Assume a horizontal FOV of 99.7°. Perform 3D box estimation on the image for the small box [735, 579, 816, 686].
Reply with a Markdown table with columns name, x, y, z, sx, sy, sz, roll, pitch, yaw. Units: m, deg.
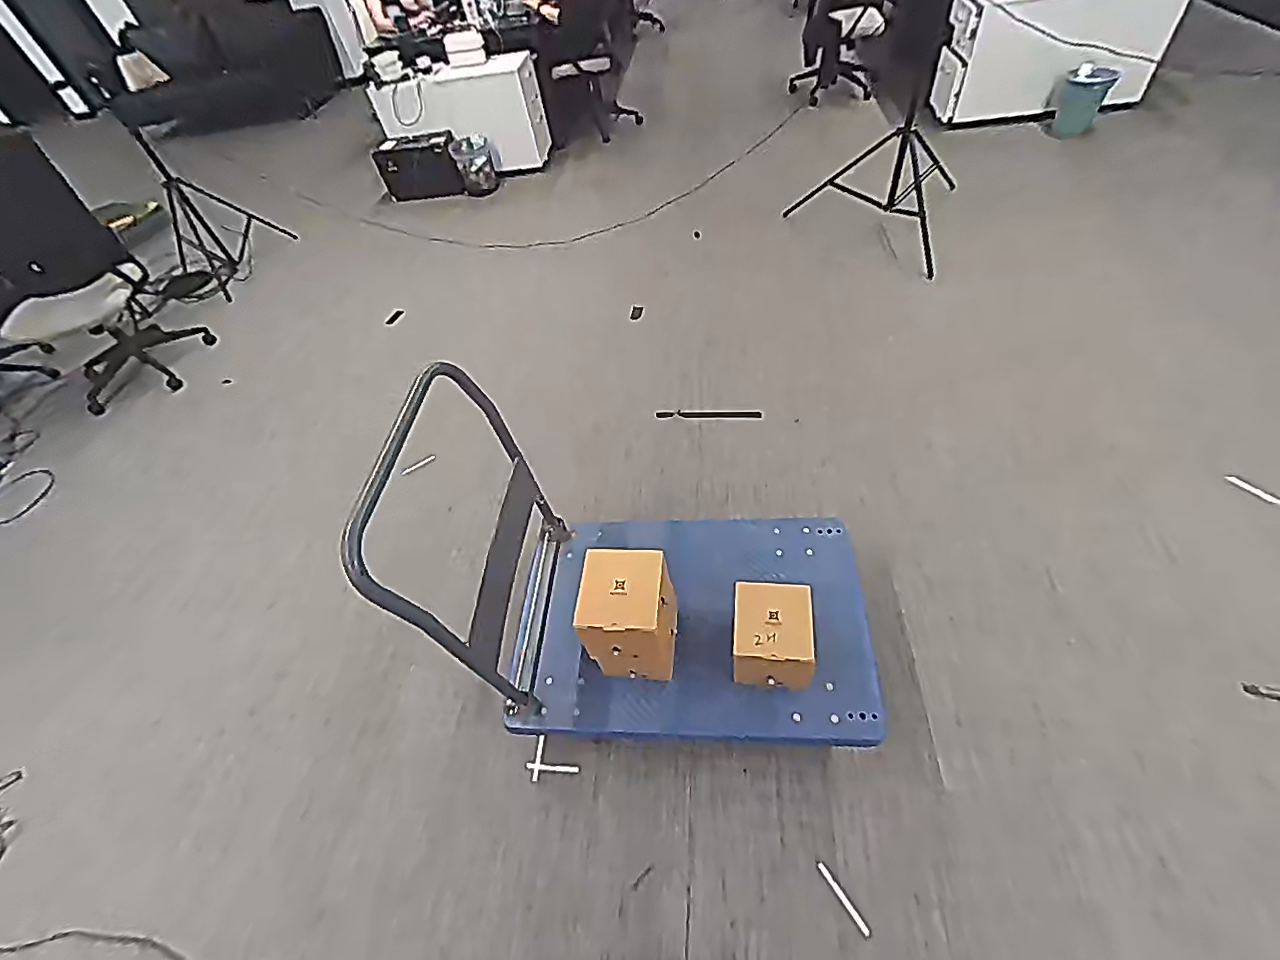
| name | x | y | z | sx | sy | sz | roll | pitch | yaw |
| --- | --- | --- | --- | --- | --- | --- | --- | --- | --- |
| small box | 0.302 | 0.345 | 1.227 | 0.168 | 0.176 | 0.179 | 1 | 51 | 12 |

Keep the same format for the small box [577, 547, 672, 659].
| name | x | y | z | sx | sy | sz | roll | pitch | yaw |
| --- | --- | --- | --- | --- | --- | --- | --- | --- | --- |
| small box | -0.024 | 0.260 | 1.142 | 0.168 | 0.176 | 0.179 | 0 | 52 | 9 |
